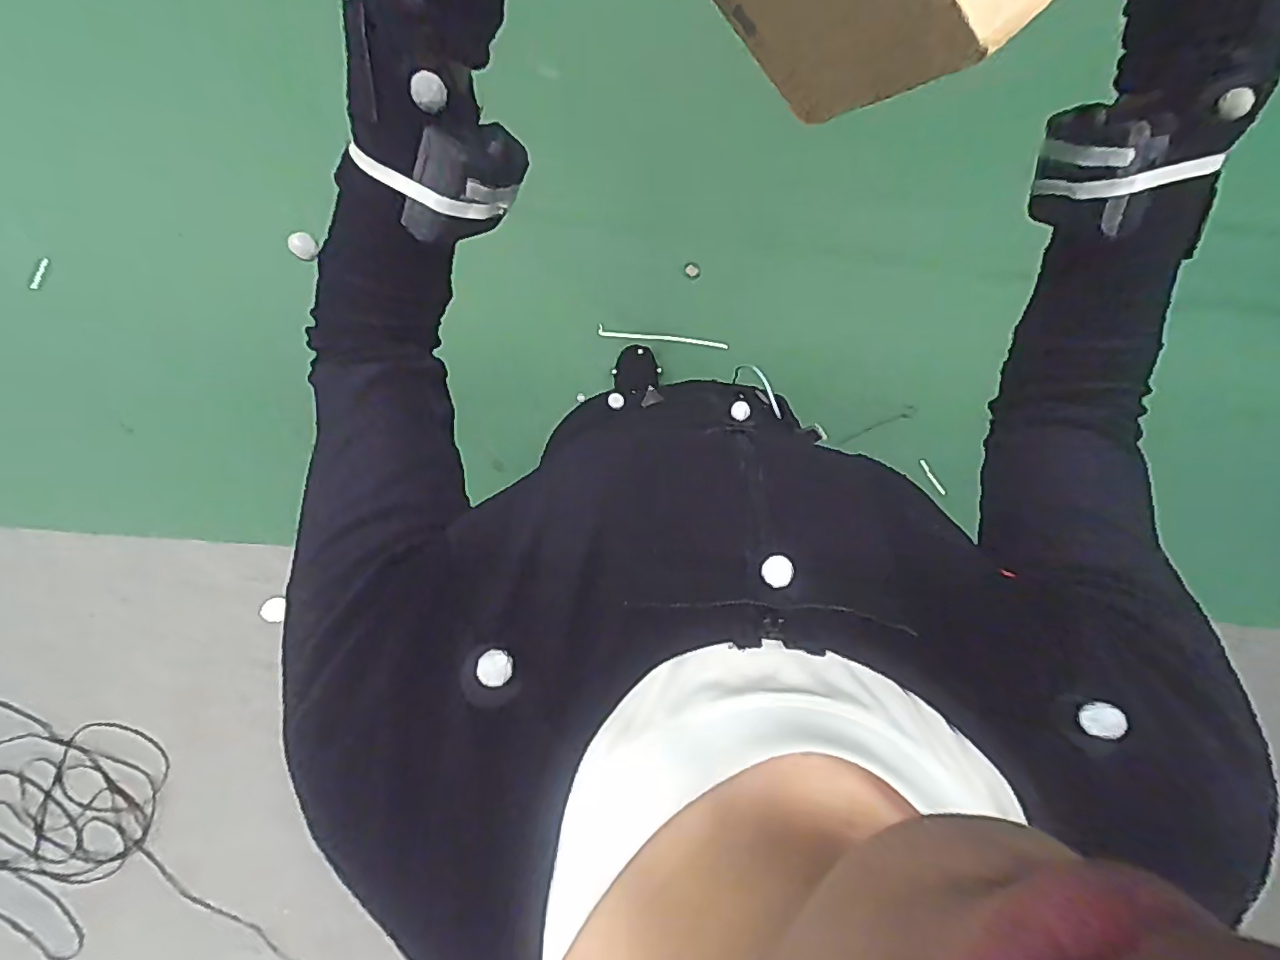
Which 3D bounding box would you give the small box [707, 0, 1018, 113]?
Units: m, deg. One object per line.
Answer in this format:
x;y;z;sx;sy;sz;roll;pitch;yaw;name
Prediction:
0.098;-0.272;0.185;0.168;0.176;0.179;41;109;-20;small box
